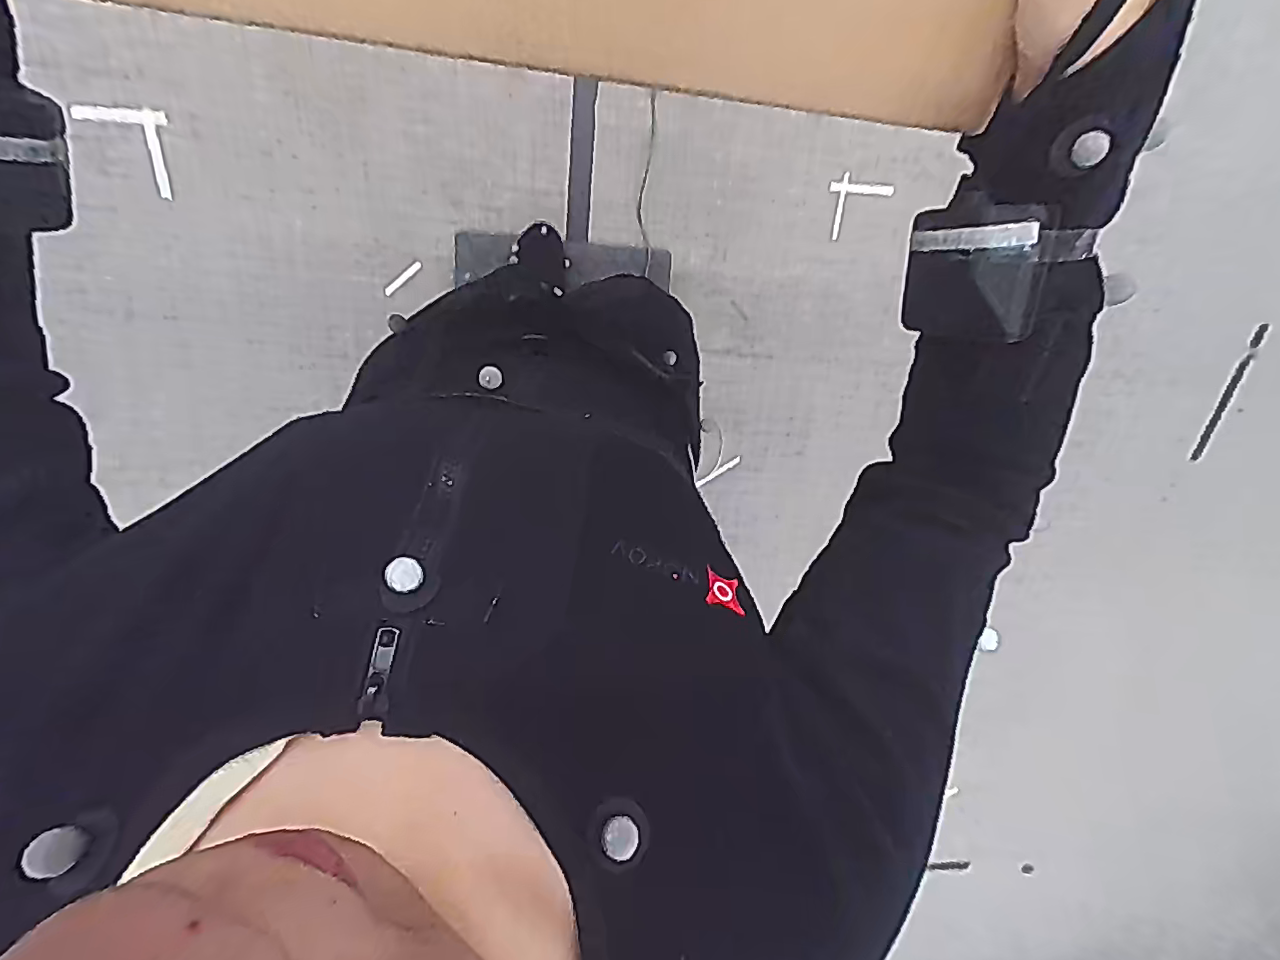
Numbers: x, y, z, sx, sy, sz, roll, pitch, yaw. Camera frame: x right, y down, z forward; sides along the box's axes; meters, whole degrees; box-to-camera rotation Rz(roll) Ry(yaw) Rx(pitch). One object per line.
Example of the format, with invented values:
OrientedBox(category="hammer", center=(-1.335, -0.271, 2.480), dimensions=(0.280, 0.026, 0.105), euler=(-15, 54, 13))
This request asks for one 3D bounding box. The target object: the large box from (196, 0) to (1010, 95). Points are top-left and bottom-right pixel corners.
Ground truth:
OrientedBox(category="large box", center=(-0.032, -0.404, 0.251), dimensions=(0.408, 0.320, 0.320), euler=(3, 131, -7))

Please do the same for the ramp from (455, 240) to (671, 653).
OrientedBox(category="ramp", center=(-0.203, -0.042, 1.331), dimensions=(0.509, 0.206, 0.991), euler=(2, 111, -5))
